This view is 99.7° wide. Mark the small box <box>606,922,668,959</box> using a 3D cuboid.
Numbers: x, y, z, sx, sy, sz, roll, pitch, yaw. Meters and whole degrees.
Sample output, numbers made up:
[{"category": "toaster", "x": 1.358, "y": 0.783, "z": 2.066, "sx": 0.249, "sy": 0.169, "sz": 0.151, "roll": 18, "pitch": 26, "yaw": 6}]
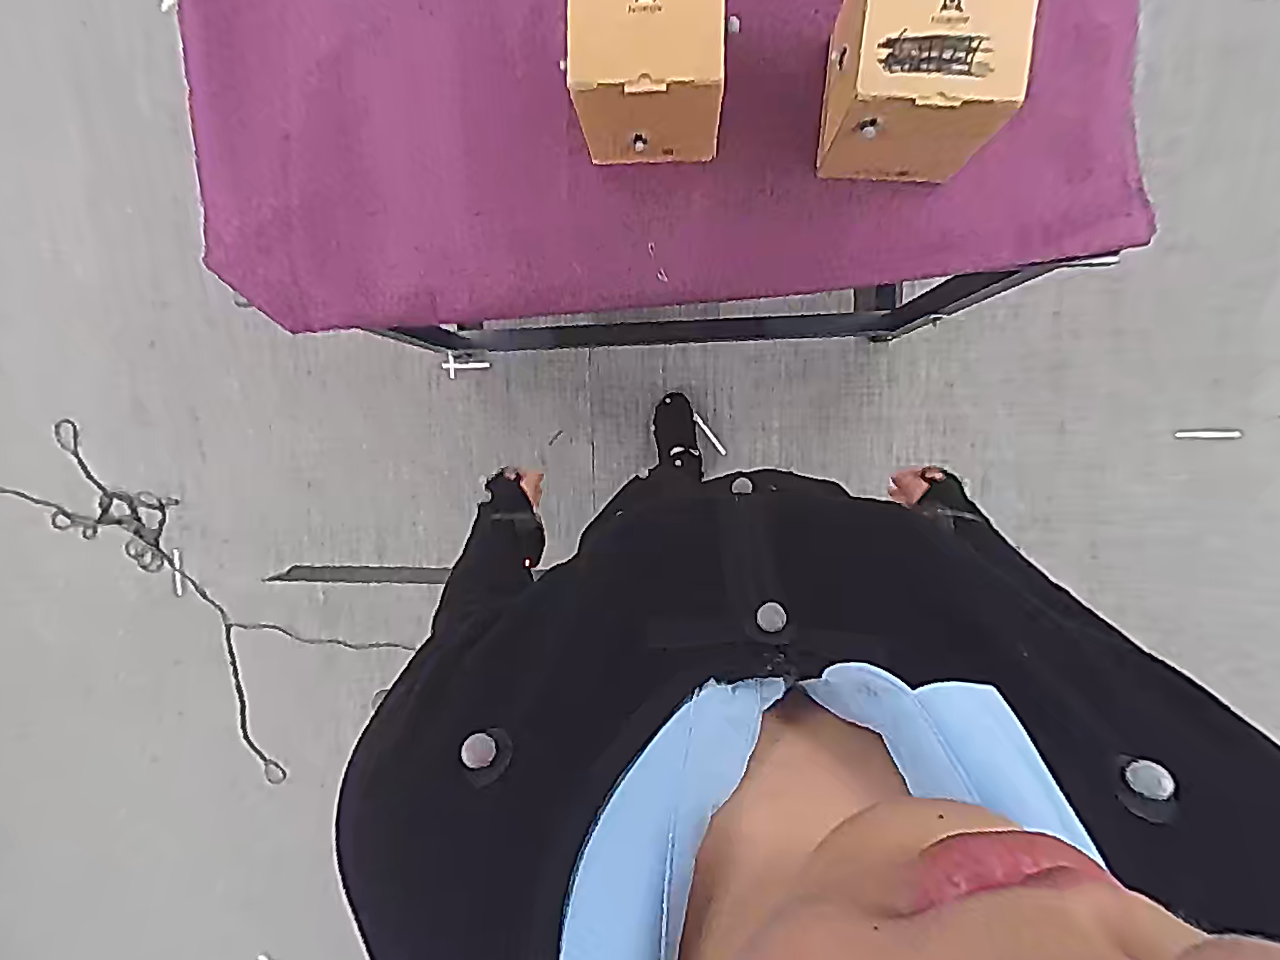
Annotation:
[{"category": "small box", "x": -0.007, "y": 1.378, "z": 1.504, "sx": 0.168, "sy": 0.176, "sz": 0.179, "roll": -3, "pitch": 95, "yaw": 5}]

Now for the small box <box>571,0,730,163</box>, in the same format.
[{"category": "small box", "x": 0.015, "y": -0.504, "z": 0.635, "sx": 0.168, "sy": 0.176, "sz": 0.179, "roll": 1, "pitch": 96, "yaw": 4}]
